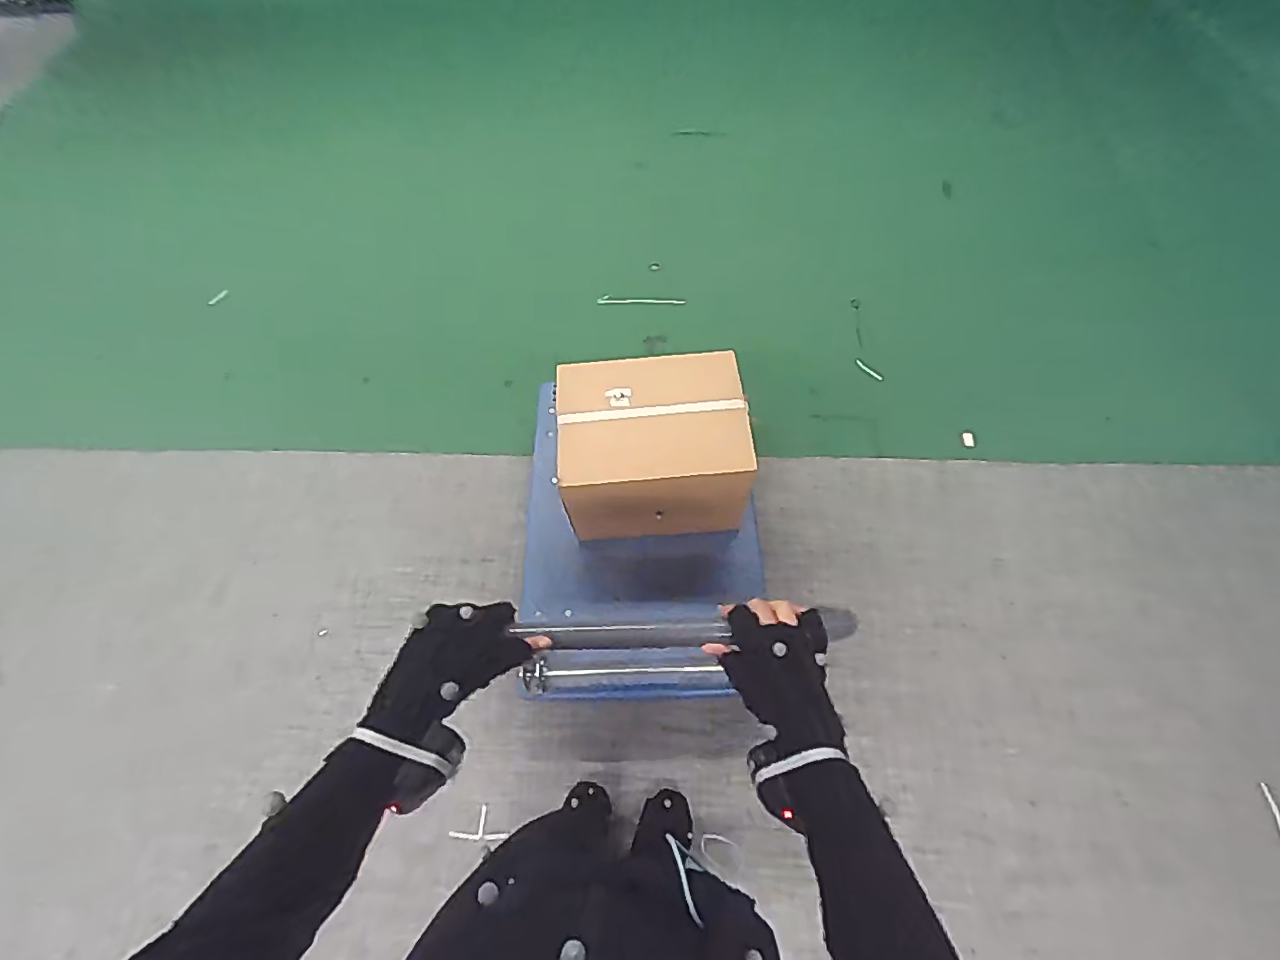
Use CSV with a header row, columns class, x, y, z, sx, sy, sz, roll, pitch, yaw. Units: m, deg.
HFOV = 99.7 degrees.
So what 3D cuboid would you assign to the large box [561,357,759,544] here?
class,x,y,z,sx,sy,sz,roll,pitch,yaw
large box,0.040,-0.058,1.290,0.408,0.320,0.320,-6,61,0
